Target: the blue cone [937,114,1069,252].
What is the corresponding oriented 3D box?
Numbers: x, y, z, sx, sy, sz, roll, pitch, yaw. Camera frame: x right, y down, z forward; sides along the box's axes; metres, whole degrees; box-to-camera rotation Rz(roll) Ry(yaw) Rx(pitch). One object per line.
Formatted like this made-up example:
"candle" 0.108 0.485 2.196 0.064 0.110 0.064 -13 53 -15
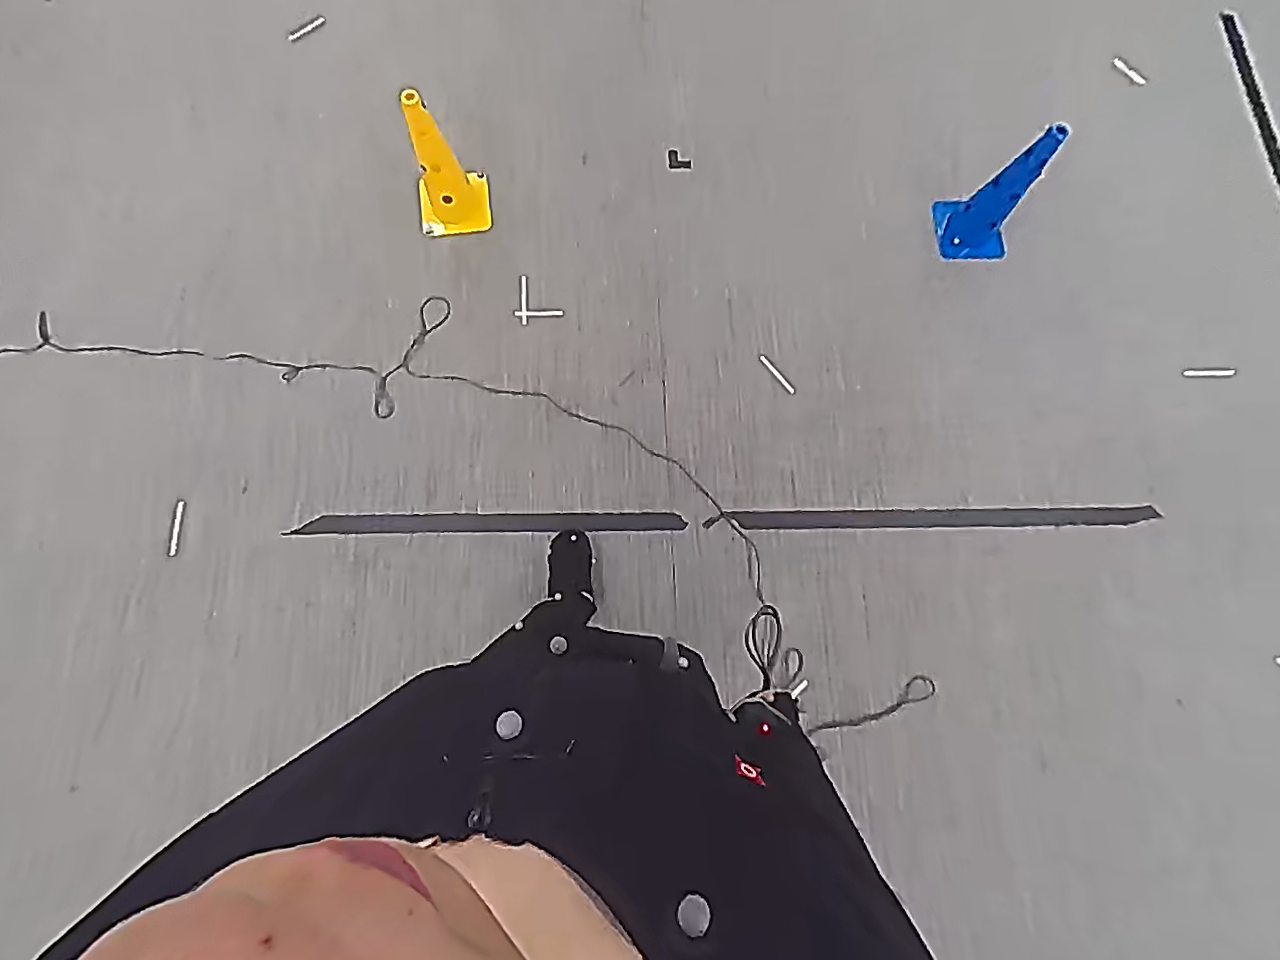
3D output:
"blue cone" 1.003 -0.806 1.465 0.193 0.380 0.192 0 76 -2
